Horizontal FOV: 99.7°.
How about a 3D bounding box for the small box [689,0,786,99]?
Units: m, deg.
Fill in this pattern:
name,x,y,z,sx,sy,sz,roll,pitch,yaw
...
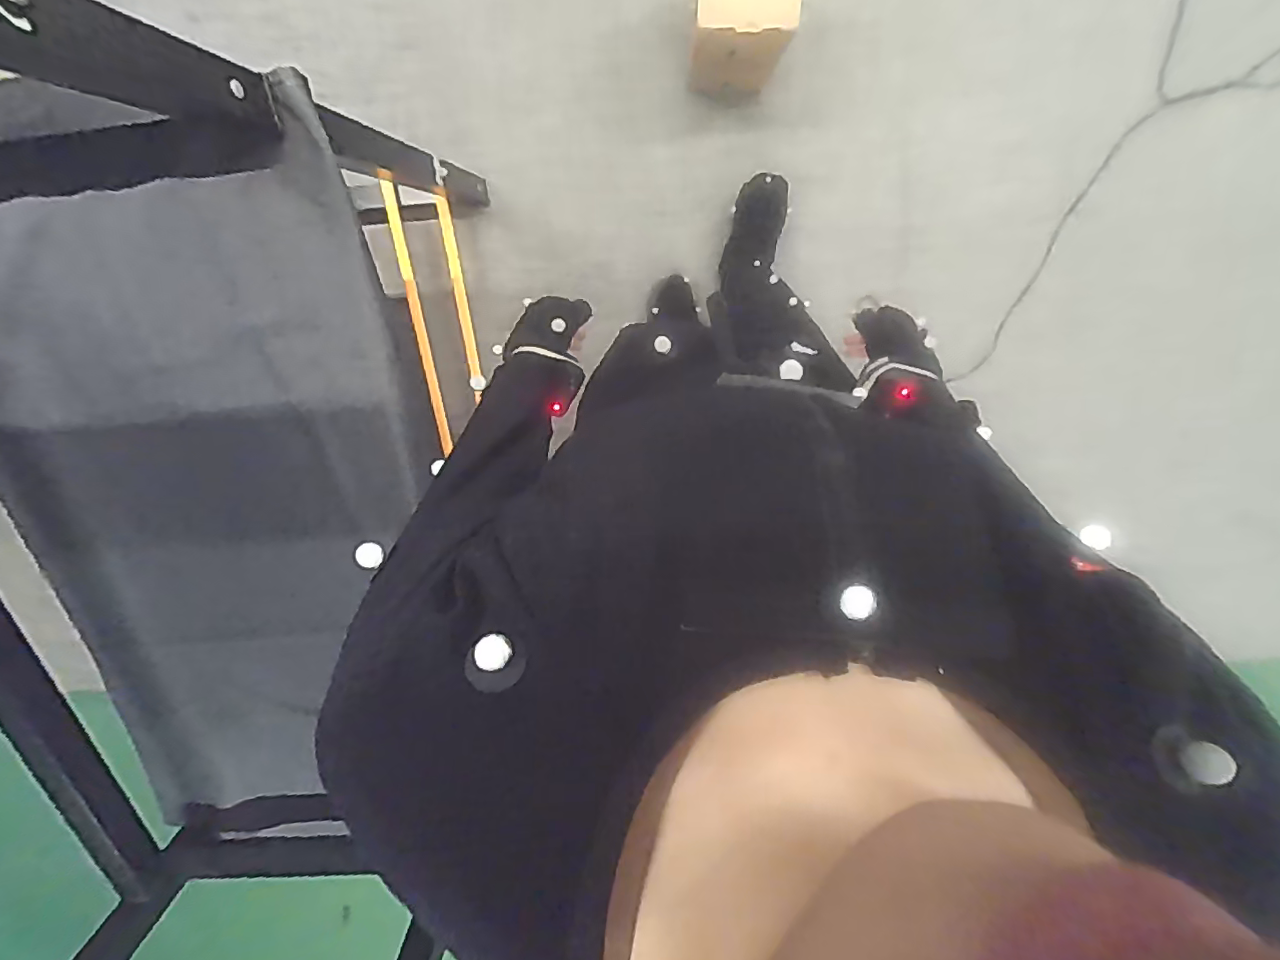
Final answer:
name,x,y,z,sx,sy,sz,roll,pitch,yaw
small box,0.188,-0.890,1.077,0.168,0.176,0.179,3,113,2
